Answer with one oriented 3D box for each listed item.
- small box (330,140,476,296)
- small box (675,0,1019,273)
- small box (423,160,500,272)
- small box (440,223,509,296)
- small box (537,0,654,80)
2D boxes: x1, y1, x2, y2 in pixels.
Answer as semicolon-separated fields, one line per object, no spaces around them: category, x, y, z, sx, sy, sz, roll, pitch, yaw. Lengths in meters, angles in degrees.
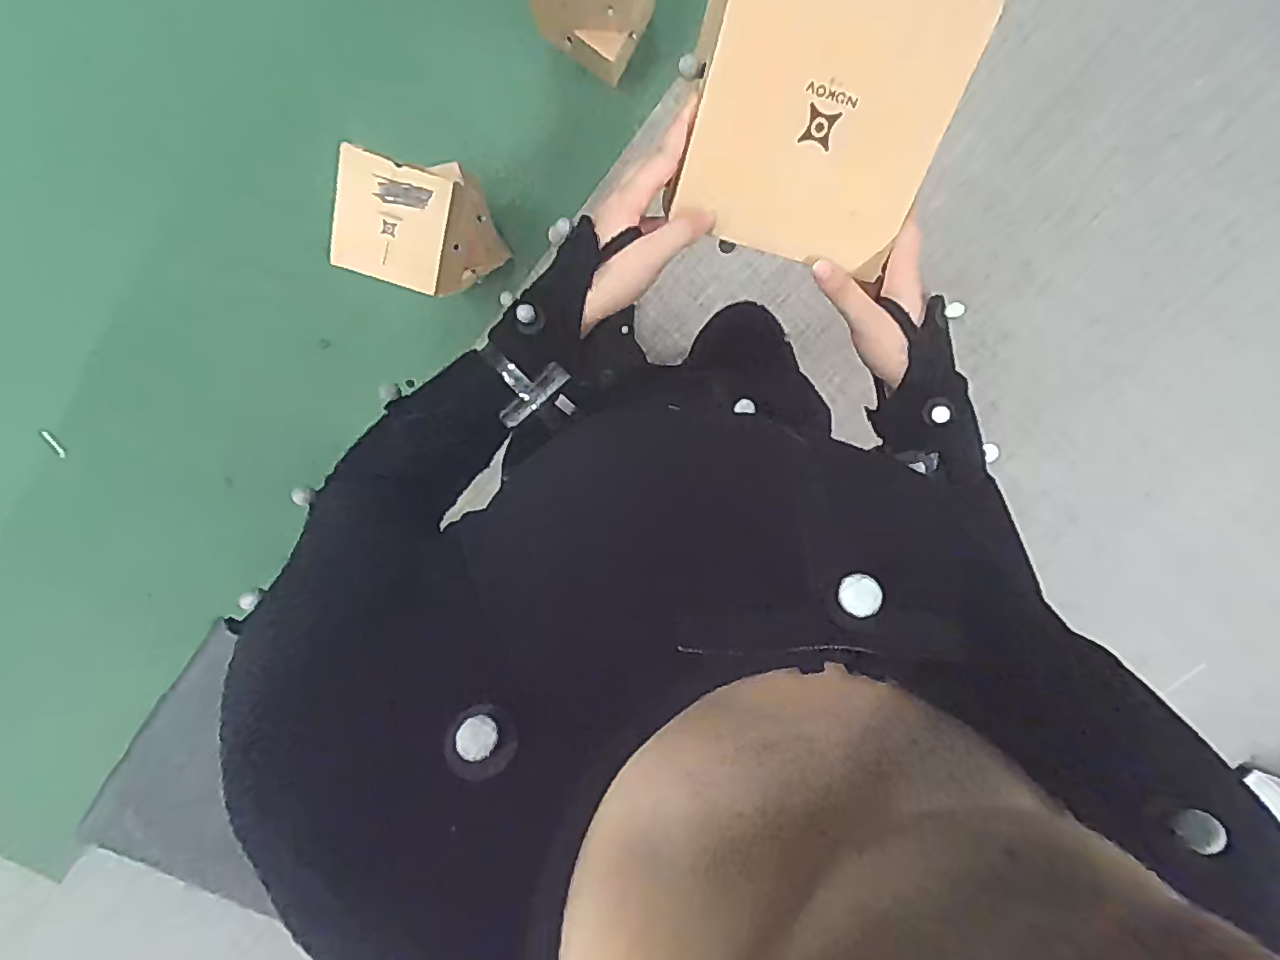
small box;-0.381;-0.423;0.893;0.168;0.176;0.179;16;112;-10
small box;0.128;-0.285;0.420;0.168;0.176;0.179;12;120;-8
small box;-0.382;-0.492;1.043;0.168;0.176;0.179;-12;112;1
small box;-0.414;-0.535;1.199;0.168;0.176;0.179;-31;110;9
small box;-0.084;-0.929;1.052;0.179;0.176;0.168;30;108;-13
